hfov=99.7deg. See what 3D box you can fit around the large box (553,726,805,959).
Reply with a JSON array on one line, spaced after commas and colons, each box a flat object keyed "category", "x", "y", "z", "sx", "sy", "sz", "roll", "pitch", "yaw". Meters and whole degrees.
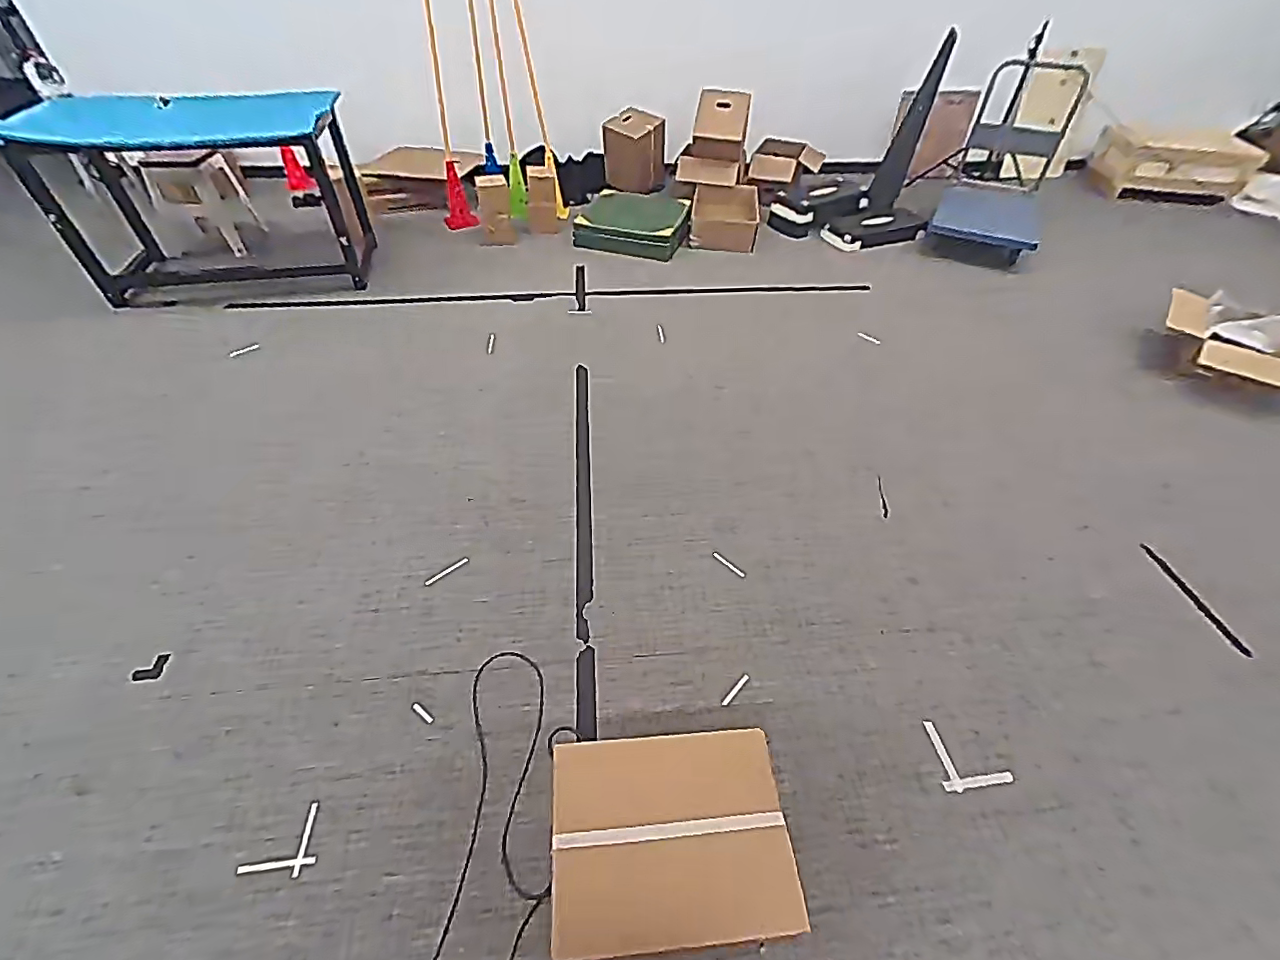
[{"category": "large box", "x": 0.046, "y": 0.704, "z": 1.043, "sx": 0.408, "sy": 0.320, "sz": 0.320, "roll": -2, "pitch": 46, "yaw": -6}]
